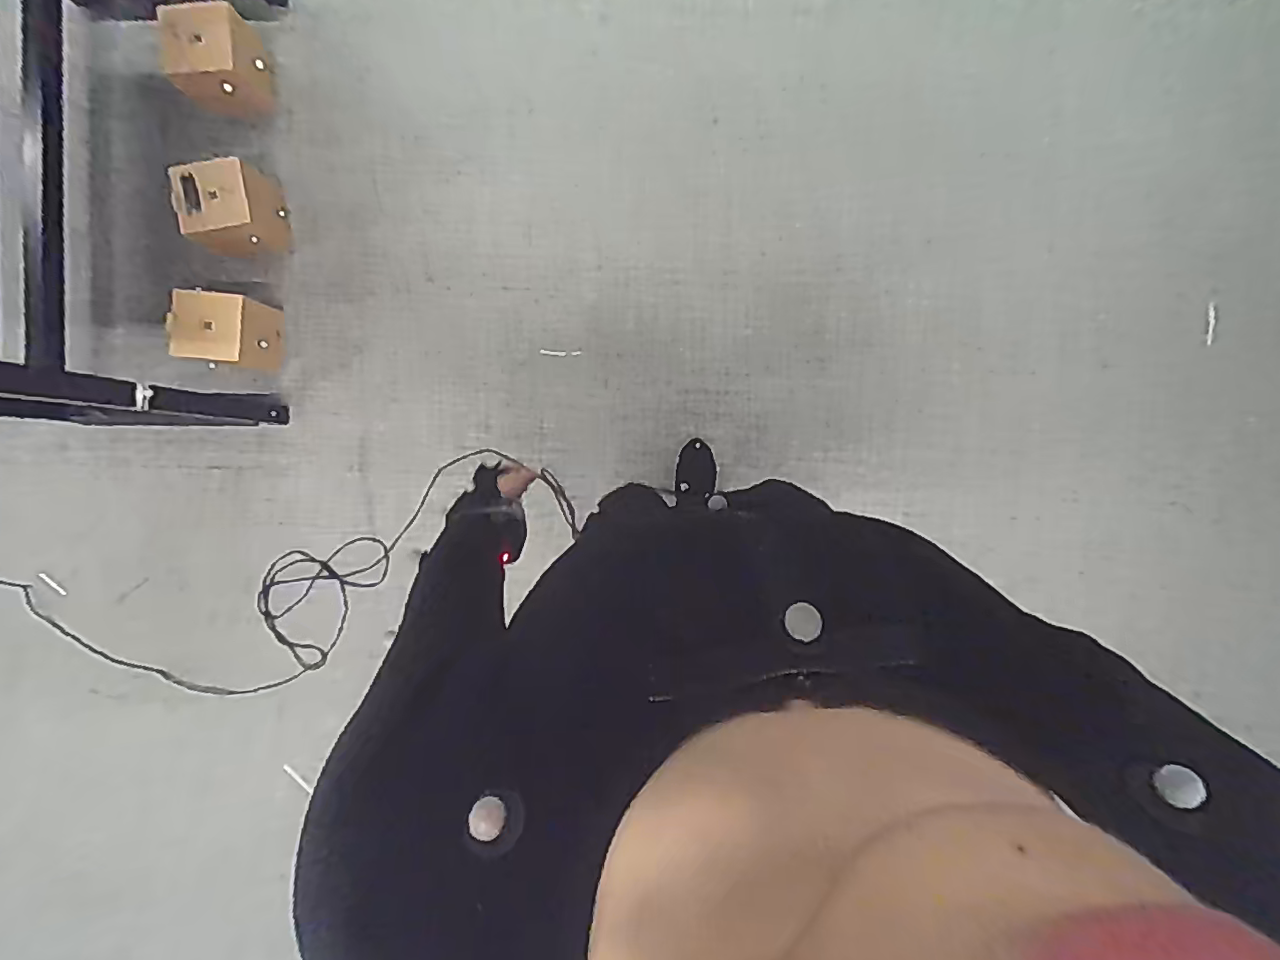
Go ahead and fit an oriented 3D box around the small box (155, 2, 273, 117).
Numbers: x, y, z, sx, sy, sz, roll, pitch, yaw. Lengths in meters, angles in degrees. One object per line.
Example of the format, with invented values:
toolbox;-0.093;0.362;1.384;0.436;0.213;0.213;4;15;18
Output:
small box;-1.062;-1.053;1.366;0.179;0.176;0.168;-4;91;0

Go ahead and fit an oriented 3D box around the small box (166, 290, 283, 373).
small box;-1.057;-0.373;1.388;0.179;0.176;0.168;5;92;0
